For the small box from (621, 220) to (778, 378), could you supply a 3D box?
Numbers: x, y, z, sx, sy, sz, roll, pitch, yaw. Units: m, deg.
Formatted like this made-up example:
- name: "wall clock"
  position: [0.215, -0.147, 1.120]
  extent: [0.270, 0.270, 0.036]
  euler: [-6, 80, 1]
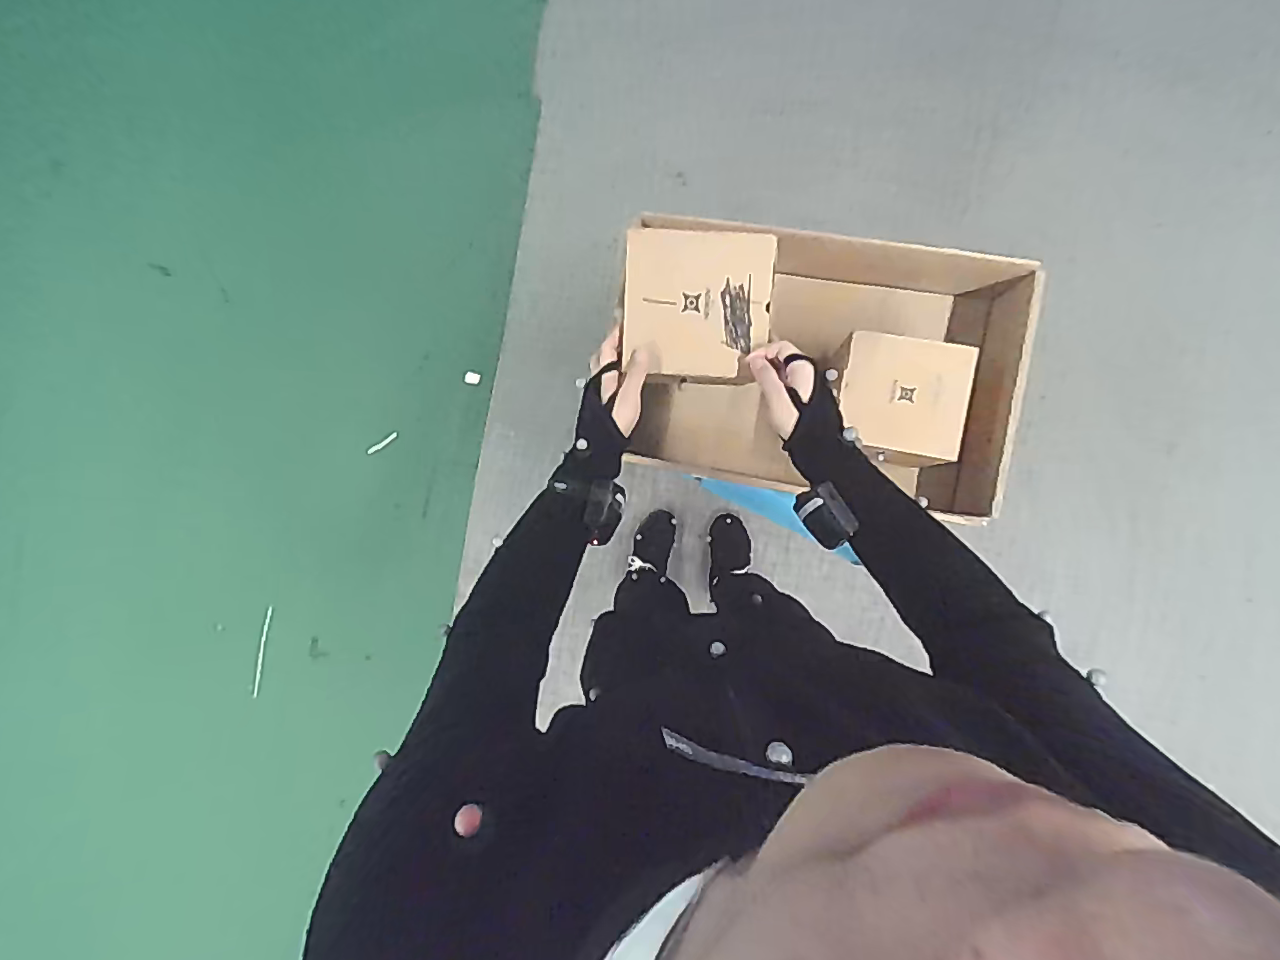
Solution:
- name: "small box"
  position: [0.068, -0.222, 0.703]
  extent: [0.179, 0.176, 0.168]
  euler: [2, 98, 1]
